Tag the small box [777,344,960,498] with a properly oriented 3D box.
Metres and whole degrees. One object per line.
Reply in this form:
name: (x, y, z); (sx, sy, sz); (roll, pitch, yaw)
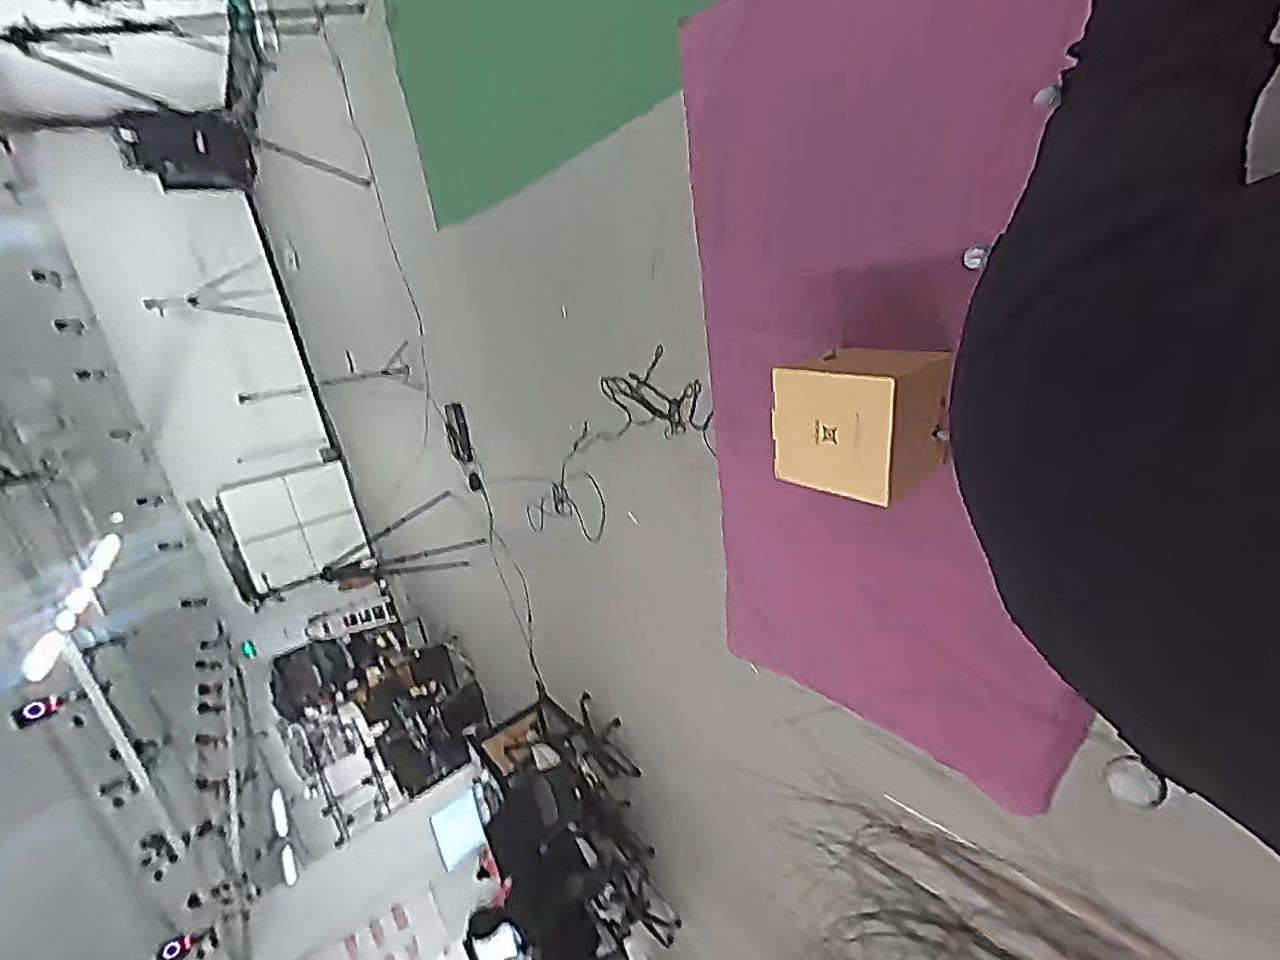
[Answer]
small box: (0.313, -0.094, 0.759); (0.179, 0.176, 0.168); (19, 123, 47)
